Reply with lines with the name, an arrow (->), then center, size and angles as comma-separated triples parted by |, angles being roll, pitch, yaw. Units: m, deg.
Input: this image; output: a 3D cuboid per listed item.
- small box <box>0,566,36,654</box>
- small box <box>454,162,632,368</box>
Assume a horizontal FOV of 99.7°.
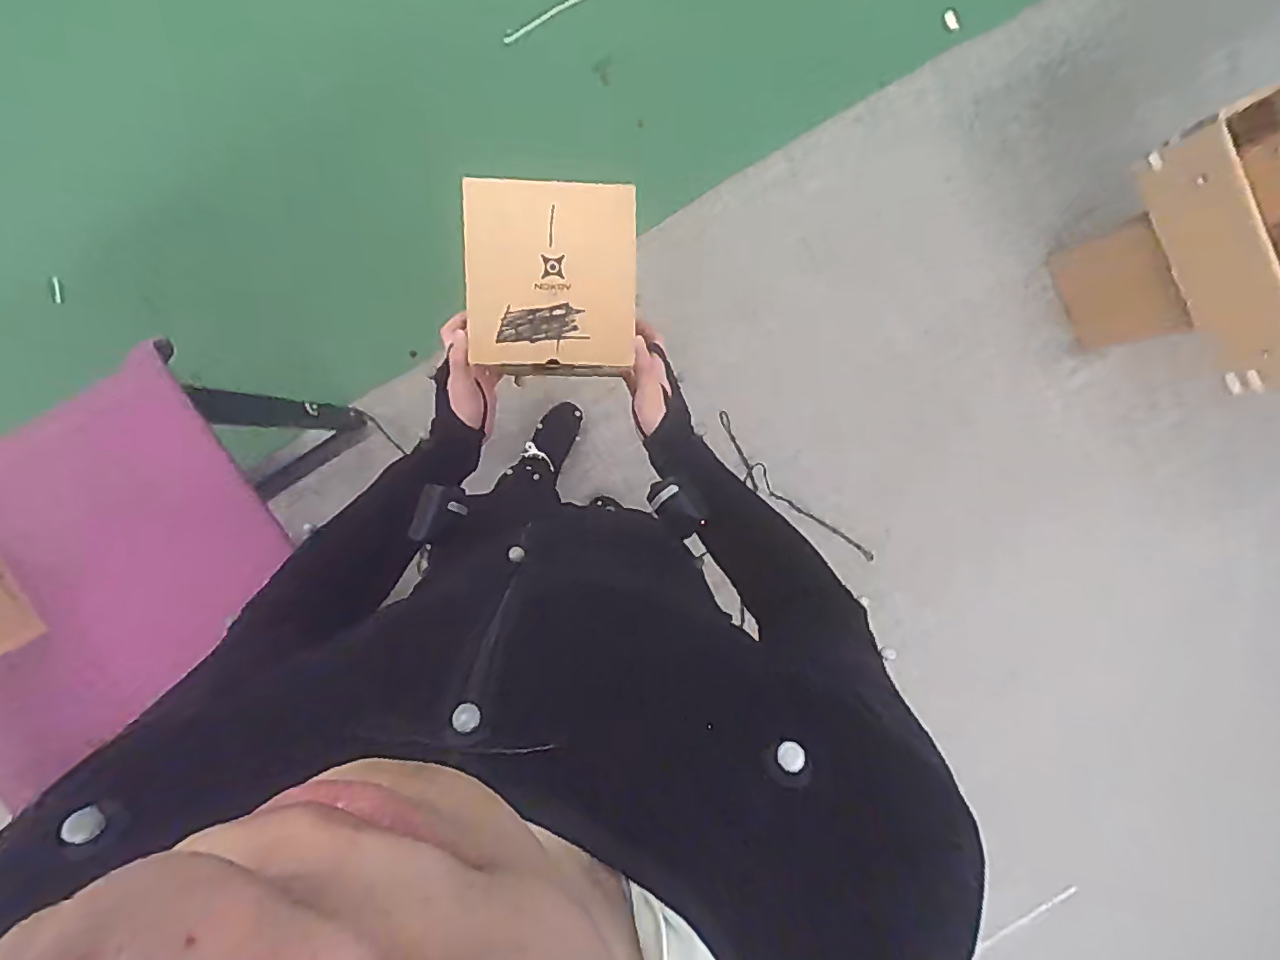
small box -> -1.071, 0.221, 0.782 | 0.179, 0.176, 0.168 | -30, 95, 0
small box -> -0.097, -0.215, 0.589 | 0.168, 0.176, 0.179 | 0, 98, -5
